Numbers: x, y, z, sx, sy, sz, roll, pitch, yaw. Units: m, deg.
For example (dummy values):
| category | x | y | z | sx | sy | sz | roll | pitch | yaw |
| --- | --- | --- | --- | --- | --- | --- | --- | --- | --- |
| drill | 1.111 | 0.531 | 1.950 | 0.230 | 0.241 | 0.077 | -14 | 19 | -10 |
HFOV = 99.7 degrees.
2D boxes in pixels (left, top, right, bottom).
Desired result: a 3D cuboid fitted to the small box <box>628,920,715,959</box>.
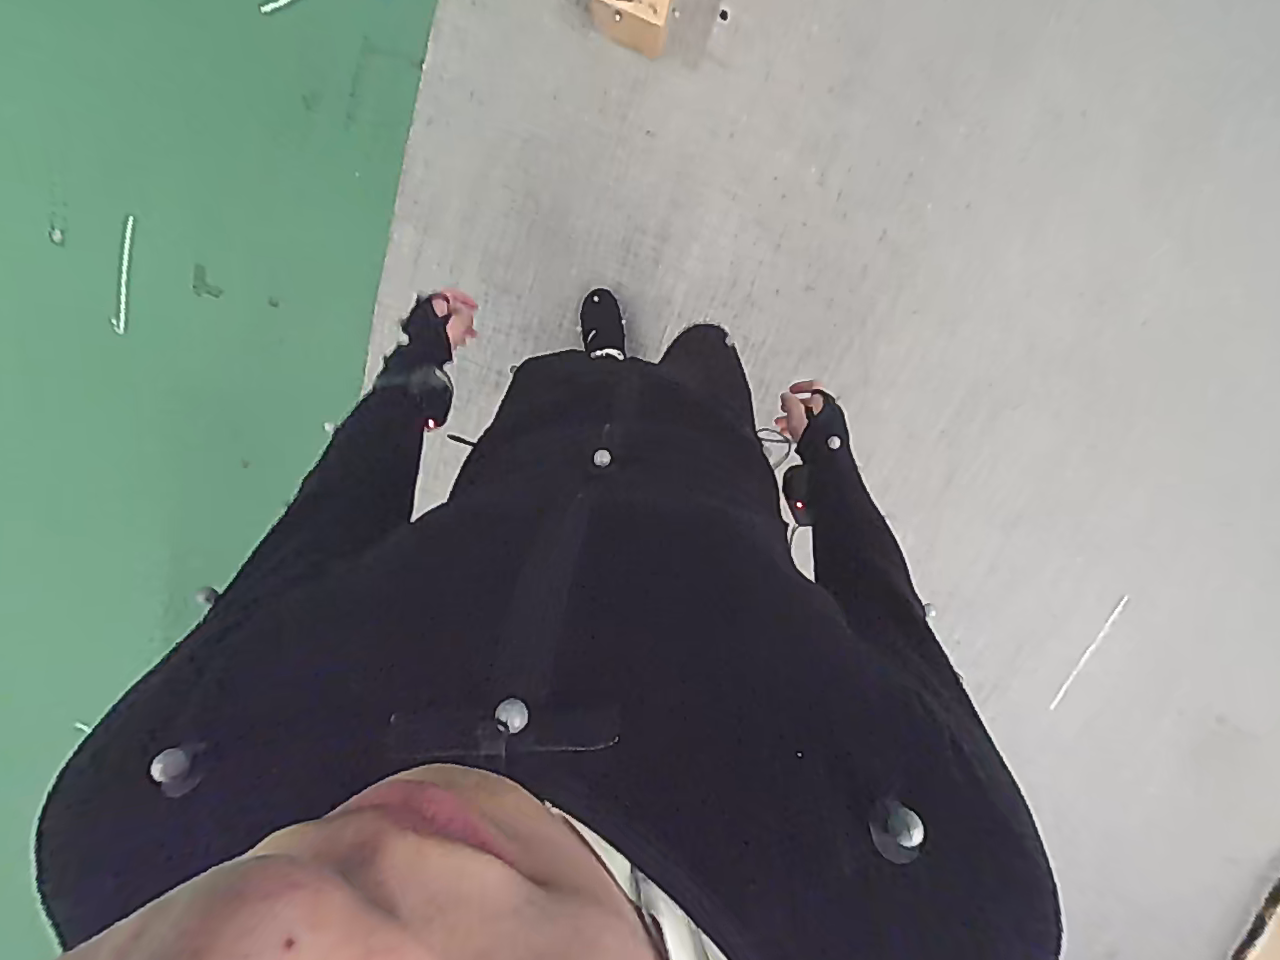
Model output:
| category | x | y | z | sx | sy | sz | roll | pitch | yaw |
| --- | --- | --- | --- | --- | --- | --- | --- | --- | --- |
| small box | 0.064 | 1.091 | 1.154 | 0.168 | 0.176 | 0.179 | 15 | 109 | -4 |

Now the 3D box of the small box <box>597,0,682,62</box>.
| category | x | y | z | sx | sy | sz | roll | pitch | yaw |
| --- | --- | --- | --- | --- | --- | --- | --- | --- | --- |
| small box | 0.006 | -1.099 | 1.215 | 0.168 | 0.176 | 0.179 | 19 | 106 | -5 |
